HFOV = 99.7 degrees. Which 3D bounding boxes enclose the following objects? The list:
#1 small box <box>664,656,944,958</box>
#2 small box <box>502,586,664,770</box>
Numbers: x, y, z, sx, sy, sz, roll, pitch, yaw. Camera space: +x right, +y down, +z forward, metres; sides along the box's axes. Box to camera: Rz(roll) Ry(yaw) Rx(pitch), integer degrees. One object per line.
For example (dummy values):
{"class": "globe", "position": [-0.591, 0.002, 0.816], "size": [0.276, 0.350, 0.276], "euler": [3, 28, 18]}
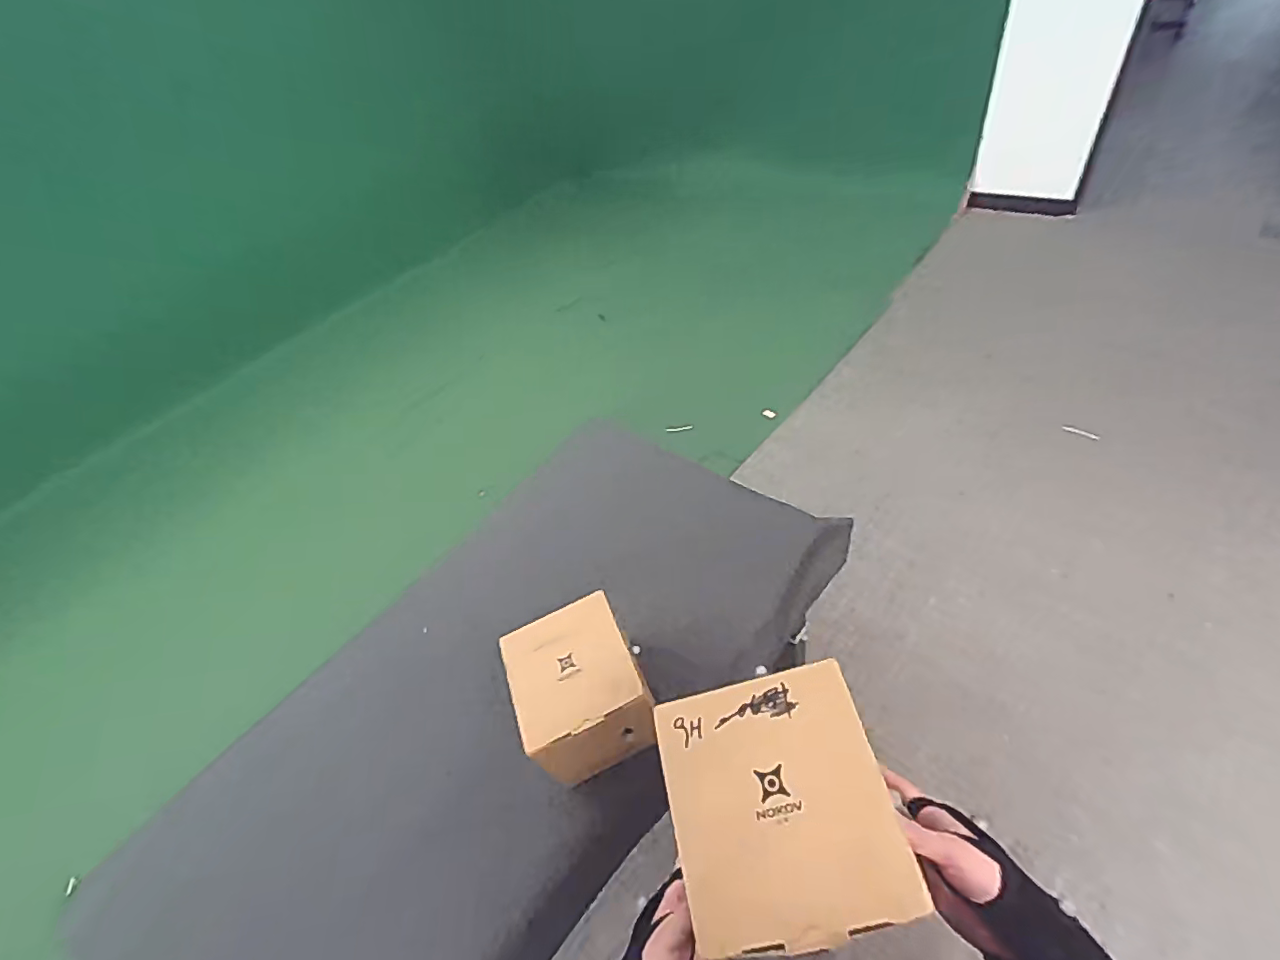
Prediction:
{"class": "small box", "position": [0.133, 0.278, 0.477], "size": [0.168, 0.176, 0.179], "euler": [-17, 56, 6]}
{"class": "small box", "position": [-0.079, 0.295, 0.789], "size": [0.168, 0.176, 0.179], "euler": [-25, 47, -7]}
